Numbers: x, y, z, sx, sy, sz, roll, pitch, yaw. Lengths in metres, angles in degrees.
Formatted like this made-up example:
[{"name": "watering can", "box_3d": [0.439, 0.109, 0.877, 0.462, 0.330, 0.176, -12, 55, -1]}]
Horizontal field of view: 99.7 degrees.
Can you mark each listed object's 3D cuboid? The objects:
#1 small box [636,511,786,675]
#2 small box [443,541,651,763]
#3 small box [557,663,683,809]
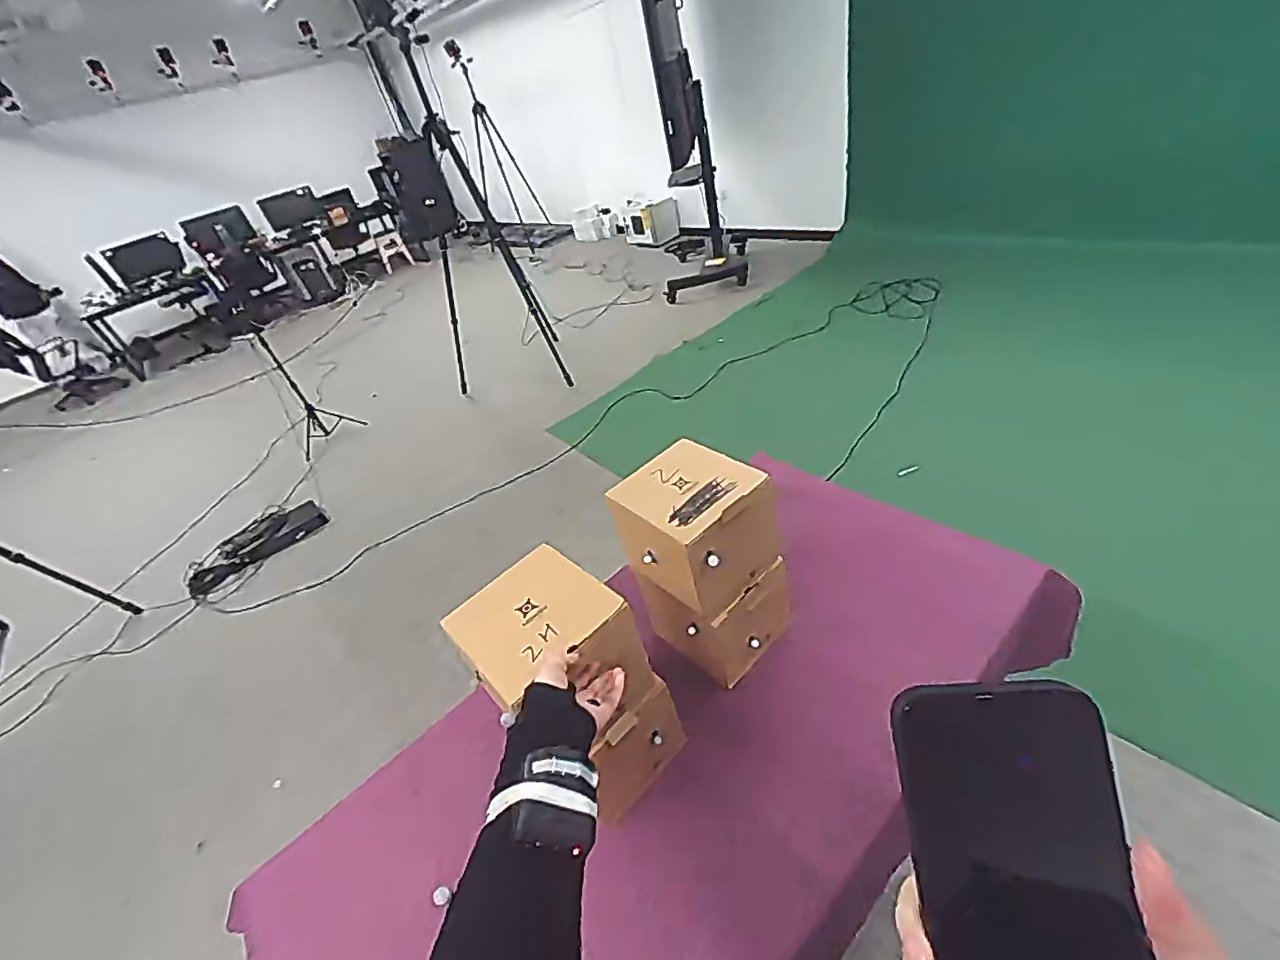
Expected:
[{"name": "small box", "box_3d": [0.123, 0.187, 0.904, 0.168, 0.176, 0.179, -38, 43, -25]}, {"name": "small box", "box_3d": [-0.112, 0.215, 0.688, 0.168, 0.176, 0.179, -39, 42, -26]}, {"name": "small box", "box_3d": [-0.060, 0.339, 0.785, 0.168, 0.176, 0.179, -38, 42, -26]}]
